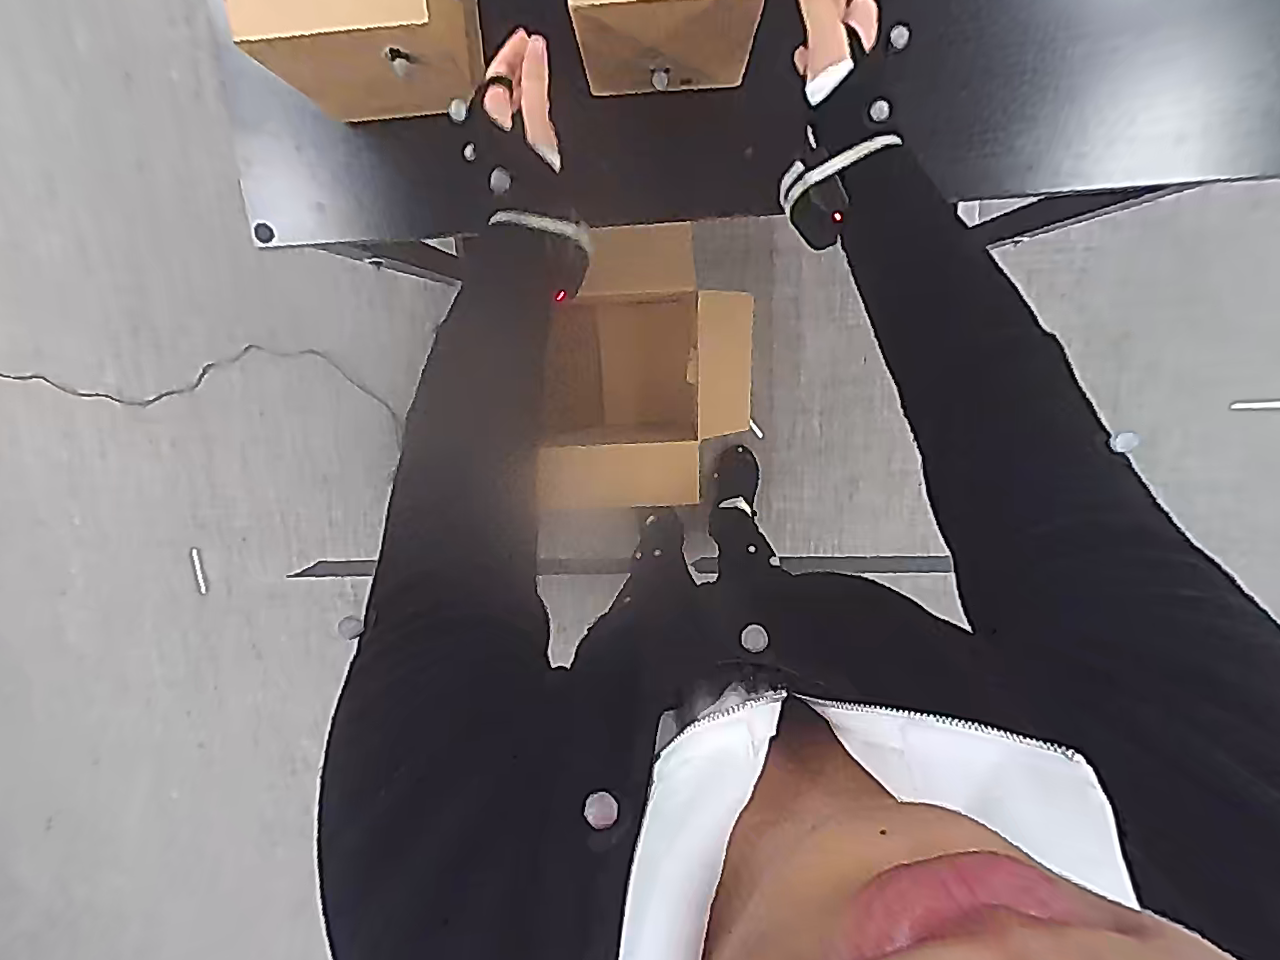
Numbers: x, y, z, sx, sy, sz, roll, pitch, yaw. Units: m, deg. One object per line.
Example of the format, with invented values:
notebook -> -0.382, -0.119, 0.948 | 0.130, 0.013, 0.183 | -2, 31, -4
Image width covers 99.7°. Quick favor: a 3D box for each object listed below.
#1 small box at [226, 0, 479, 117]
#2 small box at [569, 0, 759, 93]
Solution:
small box -> -0.265, -0.478, 0.518 | 0.179, 0.176, 0.168 | -4, 103, 3
small box -> 0.019, -0.500, 0.502 | 0.168, 0.176, 0.179 | -2, 104, 3
